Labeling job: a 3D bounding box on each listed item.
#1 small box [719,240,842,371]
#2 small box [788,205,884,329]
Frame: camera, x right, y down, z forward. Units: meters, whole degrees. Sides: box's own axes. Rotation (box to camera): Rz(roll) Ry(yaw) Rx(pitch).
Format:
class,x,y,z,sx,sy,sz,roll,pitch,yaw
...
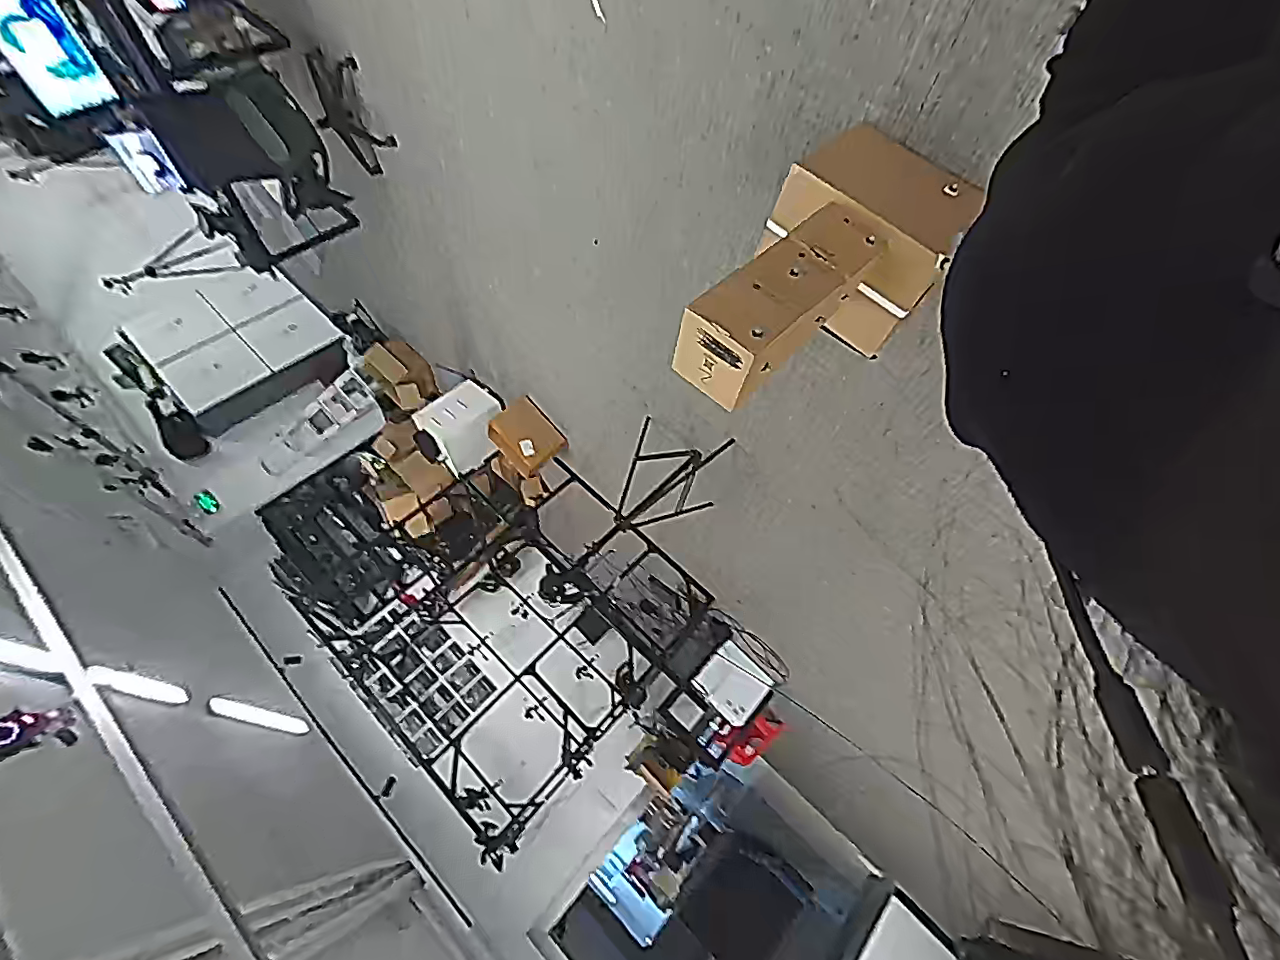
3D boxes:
class,x,y,z,sx,sy,sz,roll,pitch,yaw
small box,0.304,-0.378,1.162,0.168,0.176,0.179,43,153,14
small box,0.417,-0.481,1.222,0.168,0.176,0.179,44,155,11
